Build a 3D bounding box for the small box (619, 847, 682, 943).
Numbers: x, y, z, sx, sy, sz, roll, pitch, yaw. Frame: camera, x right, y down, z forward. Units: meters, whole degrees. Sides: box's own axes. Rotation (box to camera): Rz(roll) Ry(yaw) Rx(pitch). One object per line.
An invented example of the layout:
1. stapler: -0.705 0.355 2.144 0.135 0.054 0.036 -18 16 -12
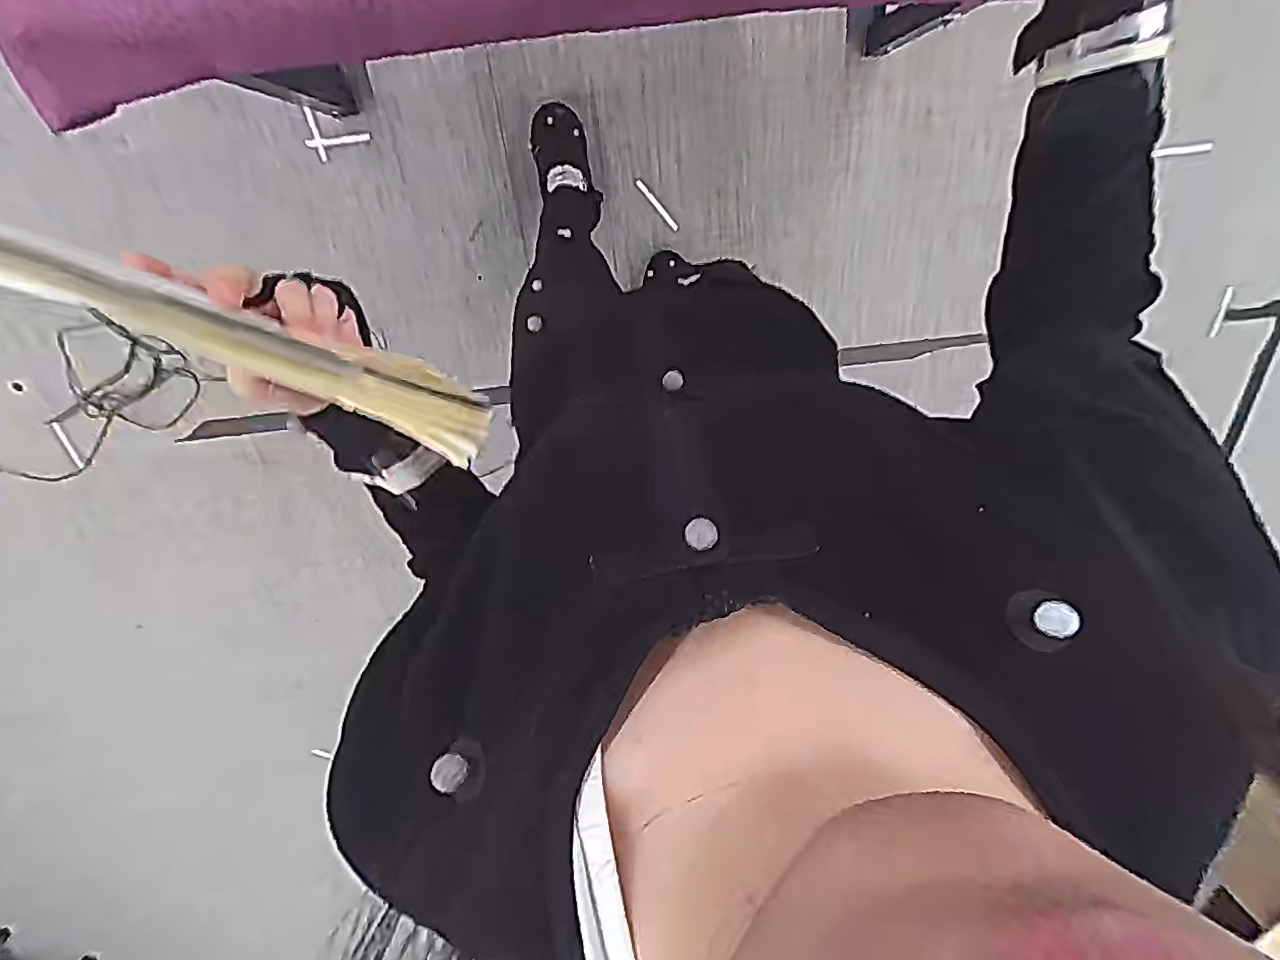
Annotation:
1. small box: 0.029 1.235 1.614 0.179 0.176 0.168 -5 119 -4
